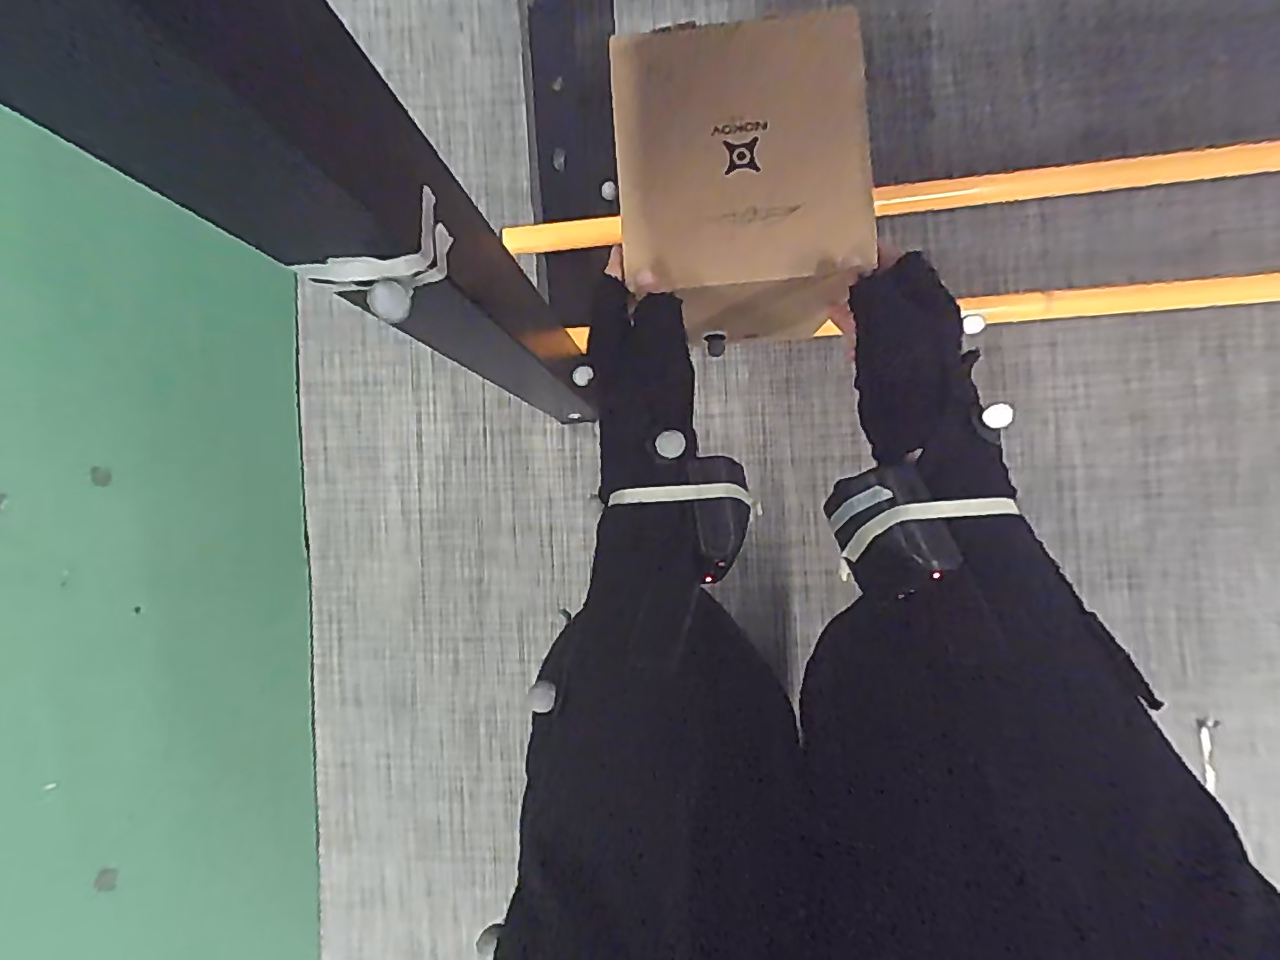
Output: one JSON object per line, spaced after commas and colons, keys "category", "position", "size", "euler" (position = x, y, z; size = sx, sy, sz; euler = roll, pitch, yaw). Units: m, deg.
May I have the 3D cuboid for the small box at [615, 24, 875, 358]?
{"category": "small box", "position": [0.073, -0.209, 0.440], "size": [0.168, 0.176, 0.179], "euler": [-5, 91, 4]}
